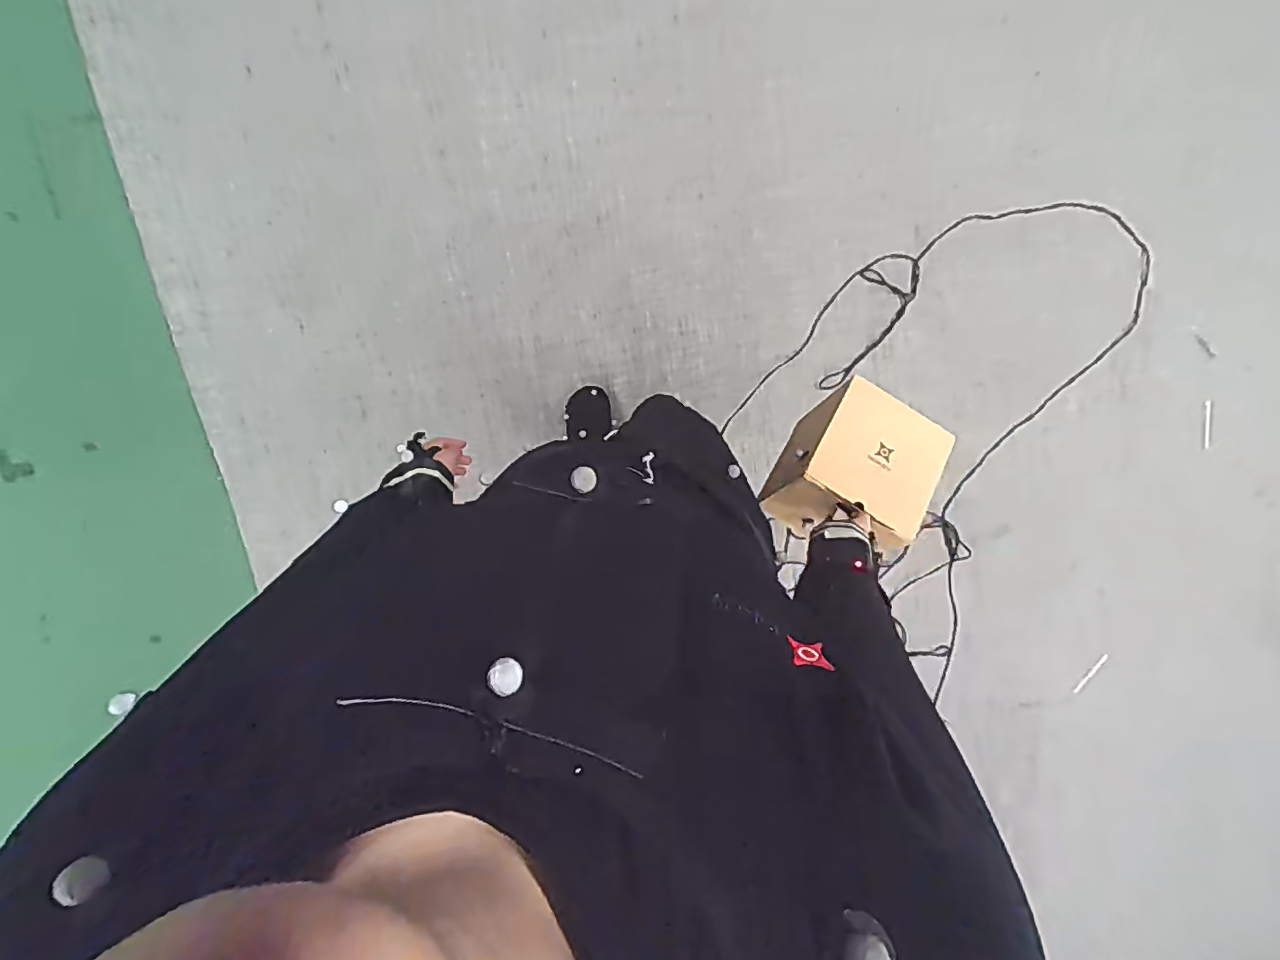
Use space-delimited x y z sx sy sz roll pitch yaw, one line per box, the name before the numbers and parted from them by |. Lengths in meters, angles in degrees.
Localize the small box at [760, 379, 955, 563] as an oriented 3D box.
small box | 0.296 -0.003 0.767 0.168 0.176 0.179 33 70 -1
